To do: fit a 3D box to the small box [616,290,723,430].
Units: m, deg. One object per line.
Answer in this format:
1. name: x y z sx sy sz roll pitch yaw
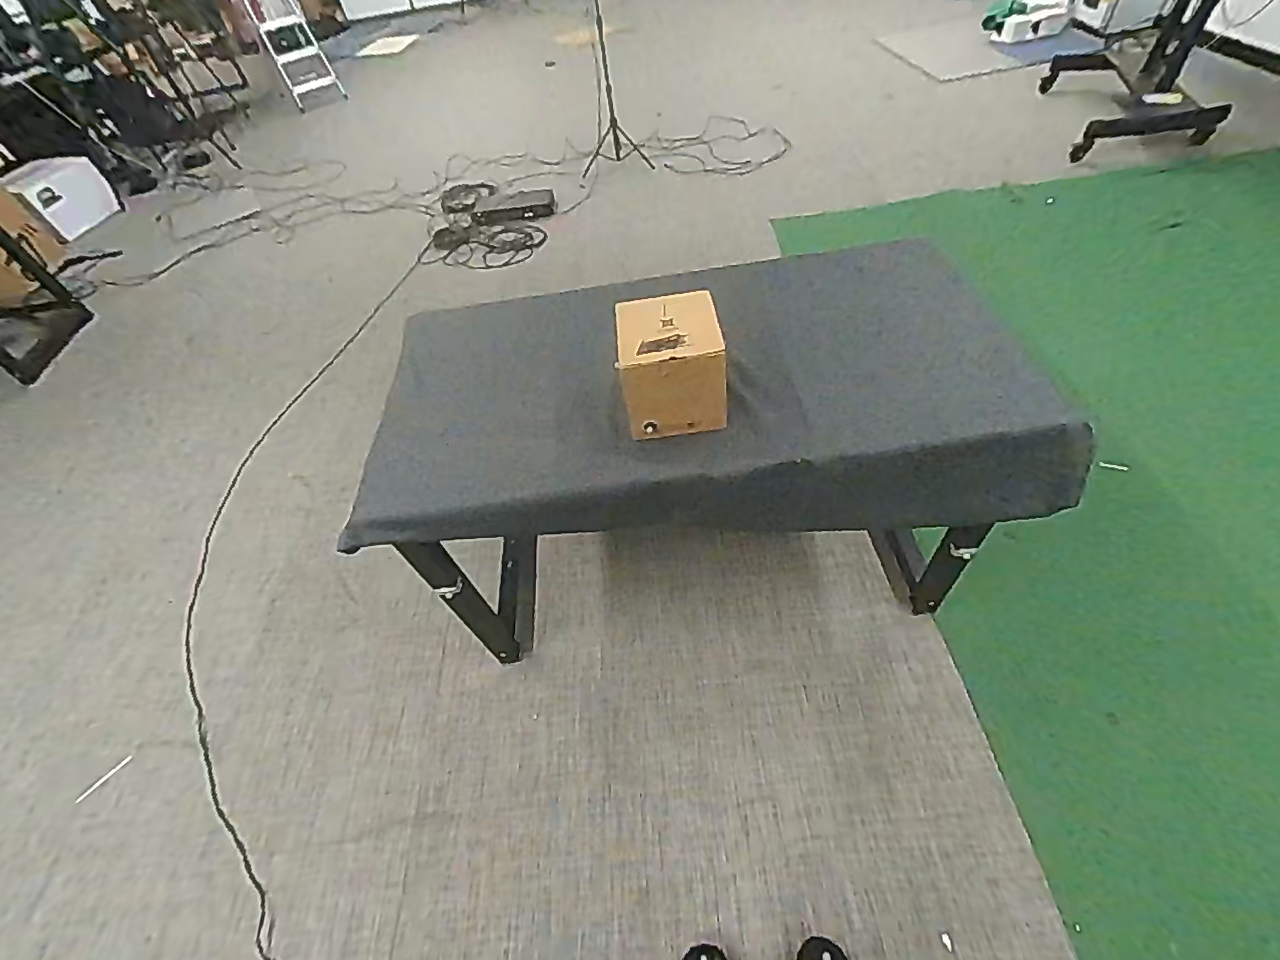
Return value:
1. small box: 0.053 -0.201 0.944 0.168 0.176 0.179 -7 50 3
